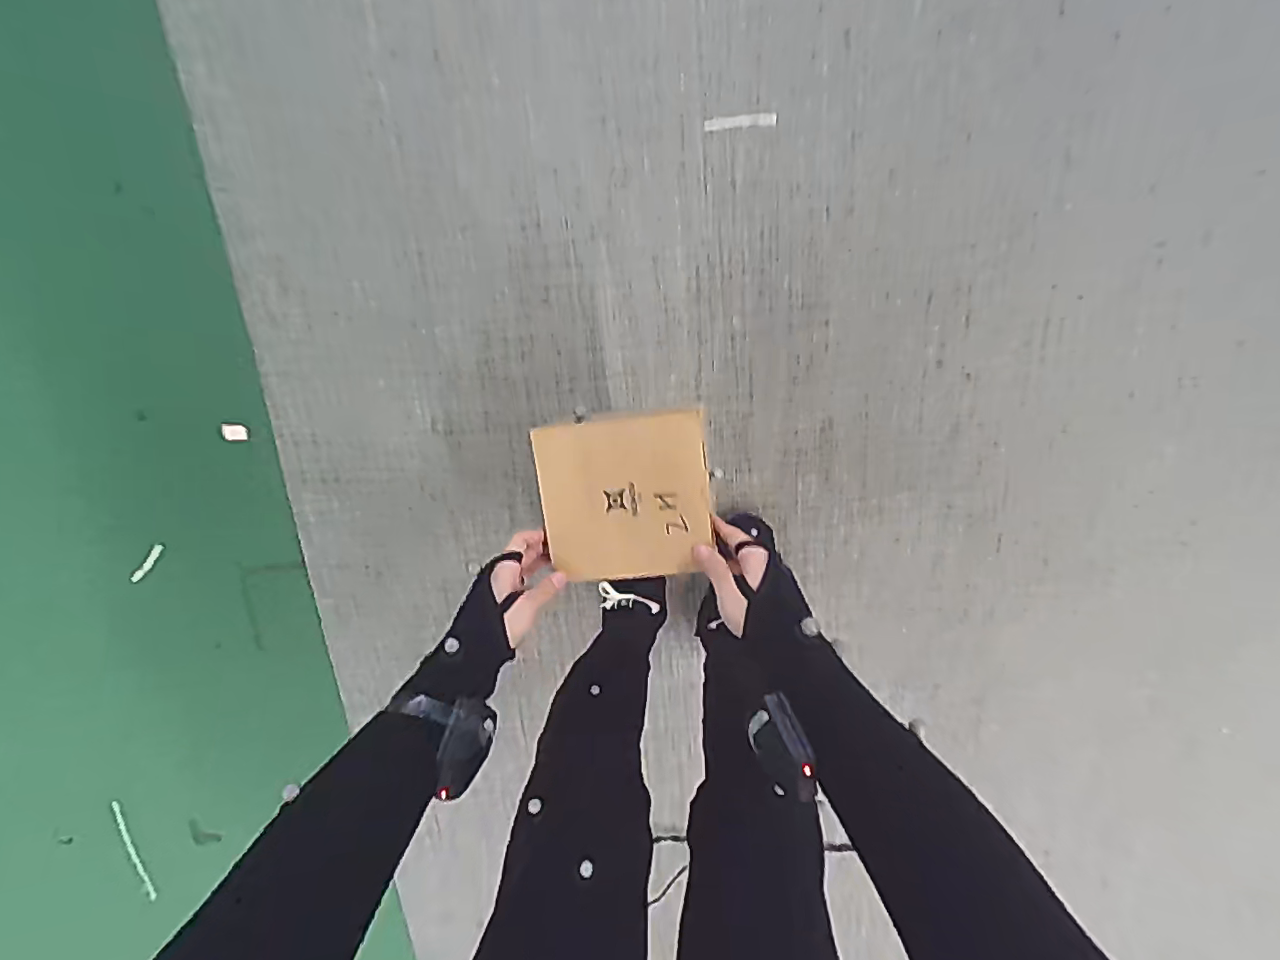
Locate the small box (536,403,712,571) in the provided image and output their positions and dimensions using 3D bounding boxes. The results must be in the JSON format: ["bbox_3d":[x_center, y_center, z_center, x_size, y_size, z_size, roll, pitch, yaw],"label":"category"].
[{"bbox_3d":[-0.007,0.000,0.646,0.179,0.176,0.168,-6,100,7],"label":"small box"}]
